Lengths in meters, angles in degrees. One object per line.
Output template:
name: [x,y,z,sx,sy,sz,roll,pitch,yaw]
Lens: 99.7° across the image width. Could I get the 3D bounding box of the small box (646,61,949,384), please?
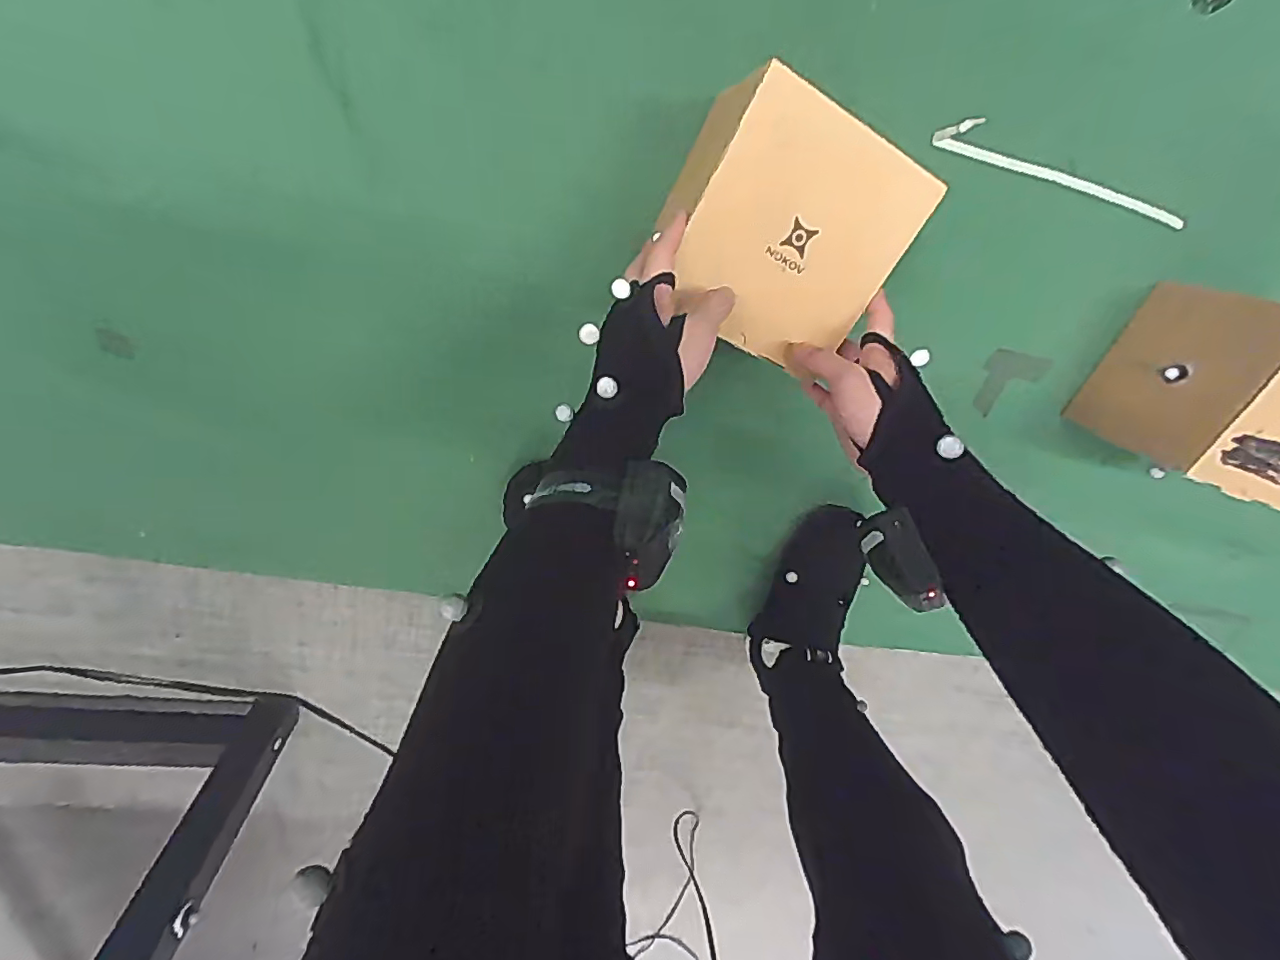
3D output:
small box: [0.115,-0.220,0.483,0.168,0.176,0.179,23,115,-17]
